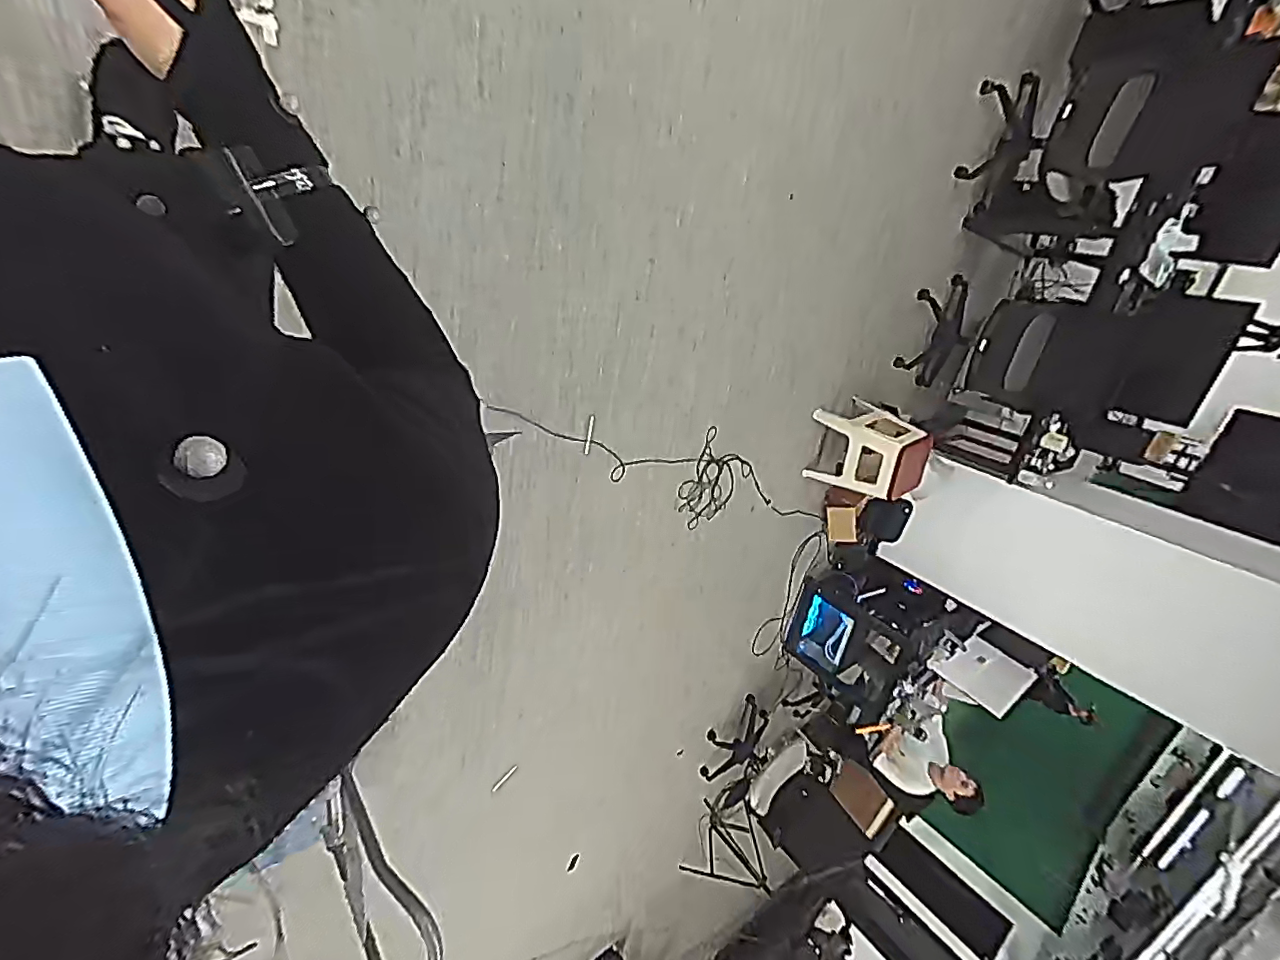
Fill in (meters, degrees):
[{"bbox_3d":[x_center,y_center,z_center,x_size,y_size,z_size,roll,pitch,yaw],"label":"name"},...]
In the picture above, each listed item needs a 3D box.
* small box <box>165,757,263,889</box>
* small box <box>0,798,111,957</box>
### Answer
[{"bbox_3d":[-1.030,0.819,1.309,0.168,0.176,0.179,-10,120,-39],"label":"small box"},{"bbox_3d":[-1.233,0.816,1.125,0.168,0.176,0.179,-9,119,-39],"label":"small box"}]
